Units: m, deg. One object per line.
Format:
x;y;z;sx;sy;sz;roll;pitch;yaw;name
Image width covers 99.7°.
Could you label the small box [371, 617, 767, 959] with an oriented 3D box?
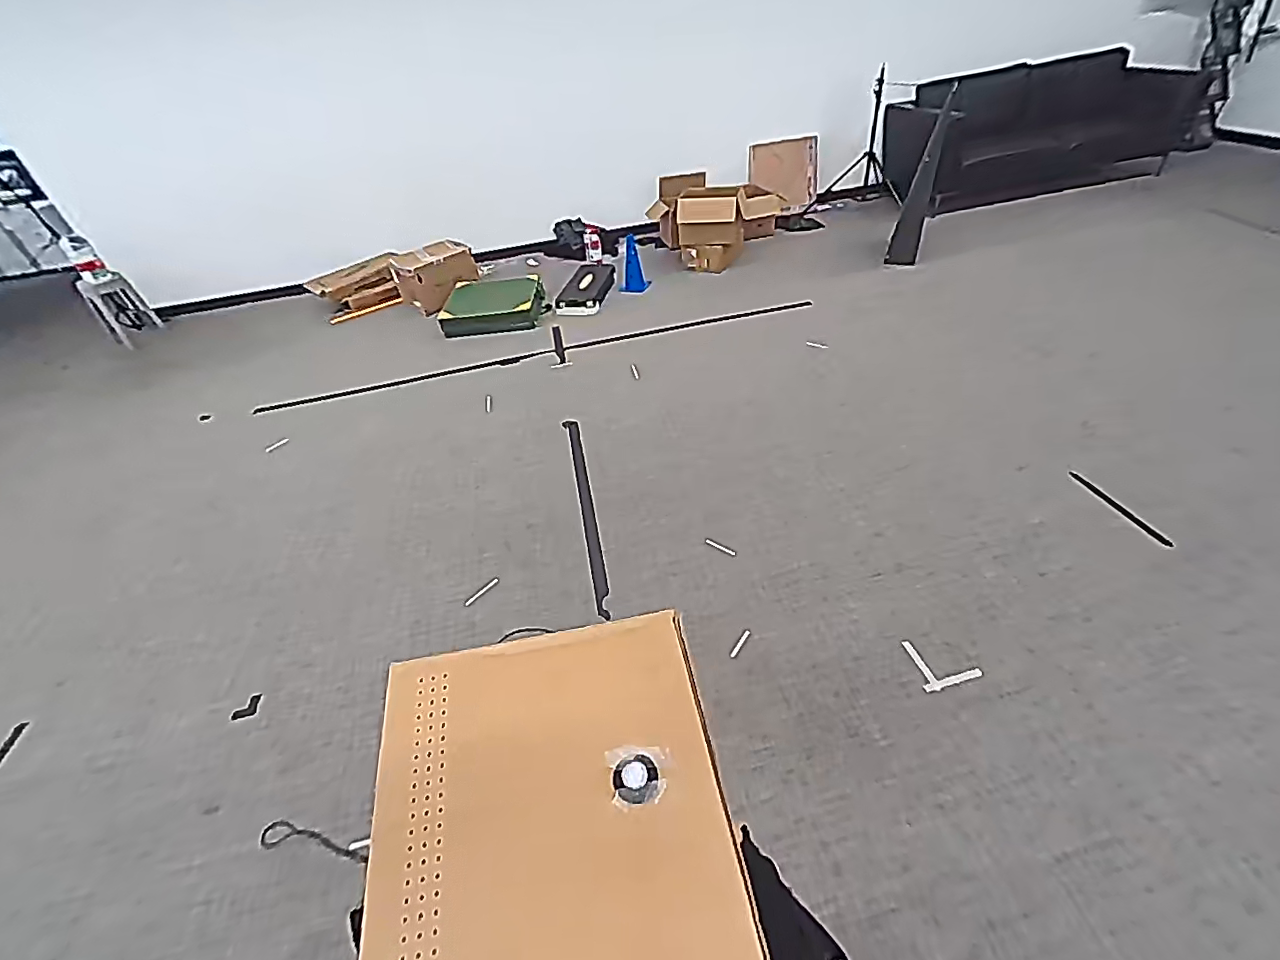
-0.041;0.210;0.325;0.176;0.168;0.179;-10;50;-4;small box
